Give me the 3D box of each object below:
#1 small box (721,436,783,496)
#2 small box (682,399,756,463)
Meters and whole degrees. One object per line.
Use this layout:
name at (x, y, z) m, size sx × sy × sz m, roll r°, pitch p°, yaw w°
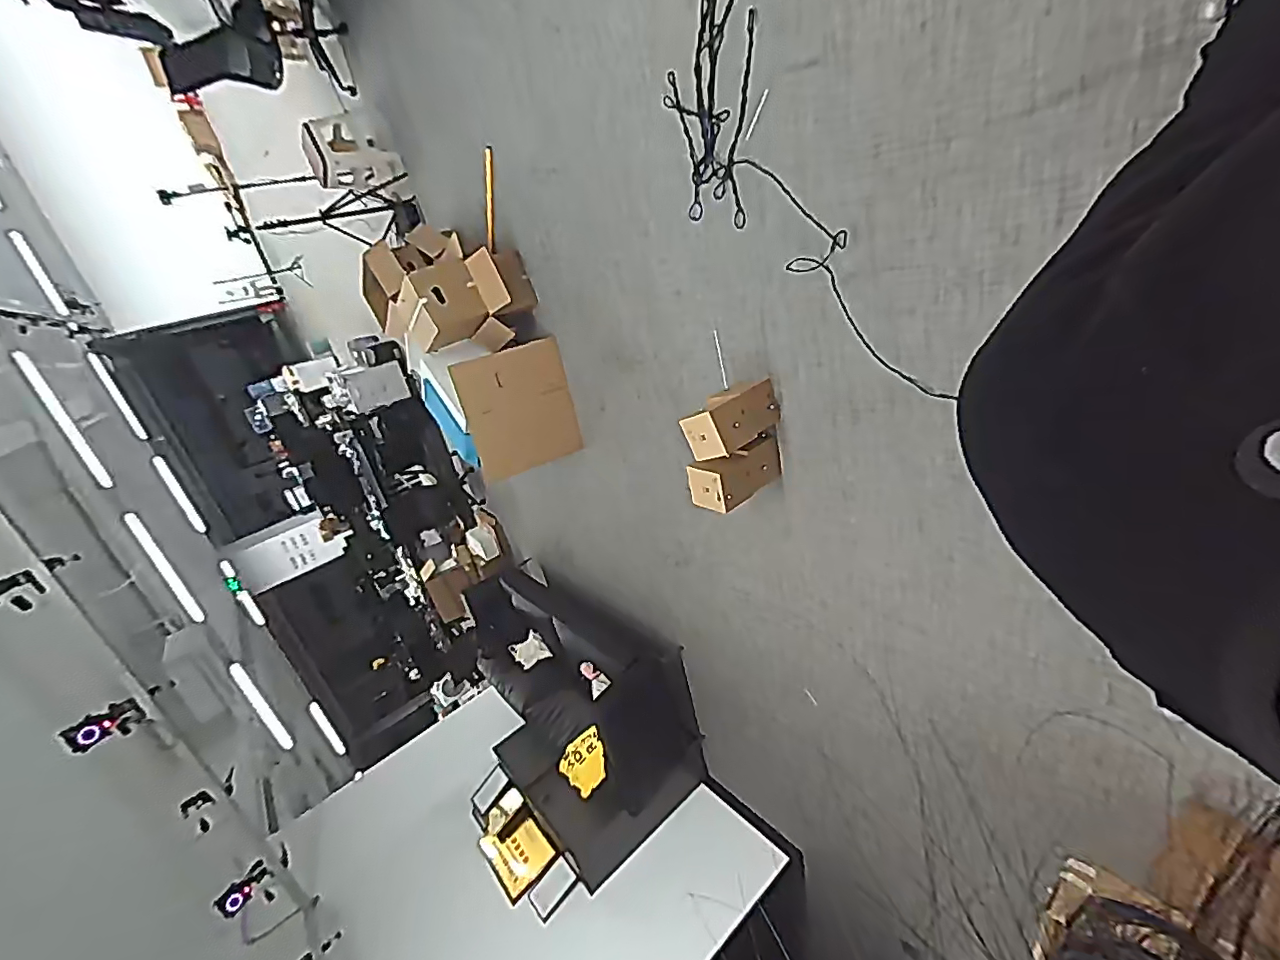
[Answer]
small box at (0.437, -0.064, 2.115) m, size 0.168 × 0.176 × 0.179 m, roll 17°, pitch 129°, yaw 51°
small box at (0.289, -0.176, 1.925) m, size 0.179 × 0.176 × 0.168 m, roll -10°, pitch 107°, yaw 59°
